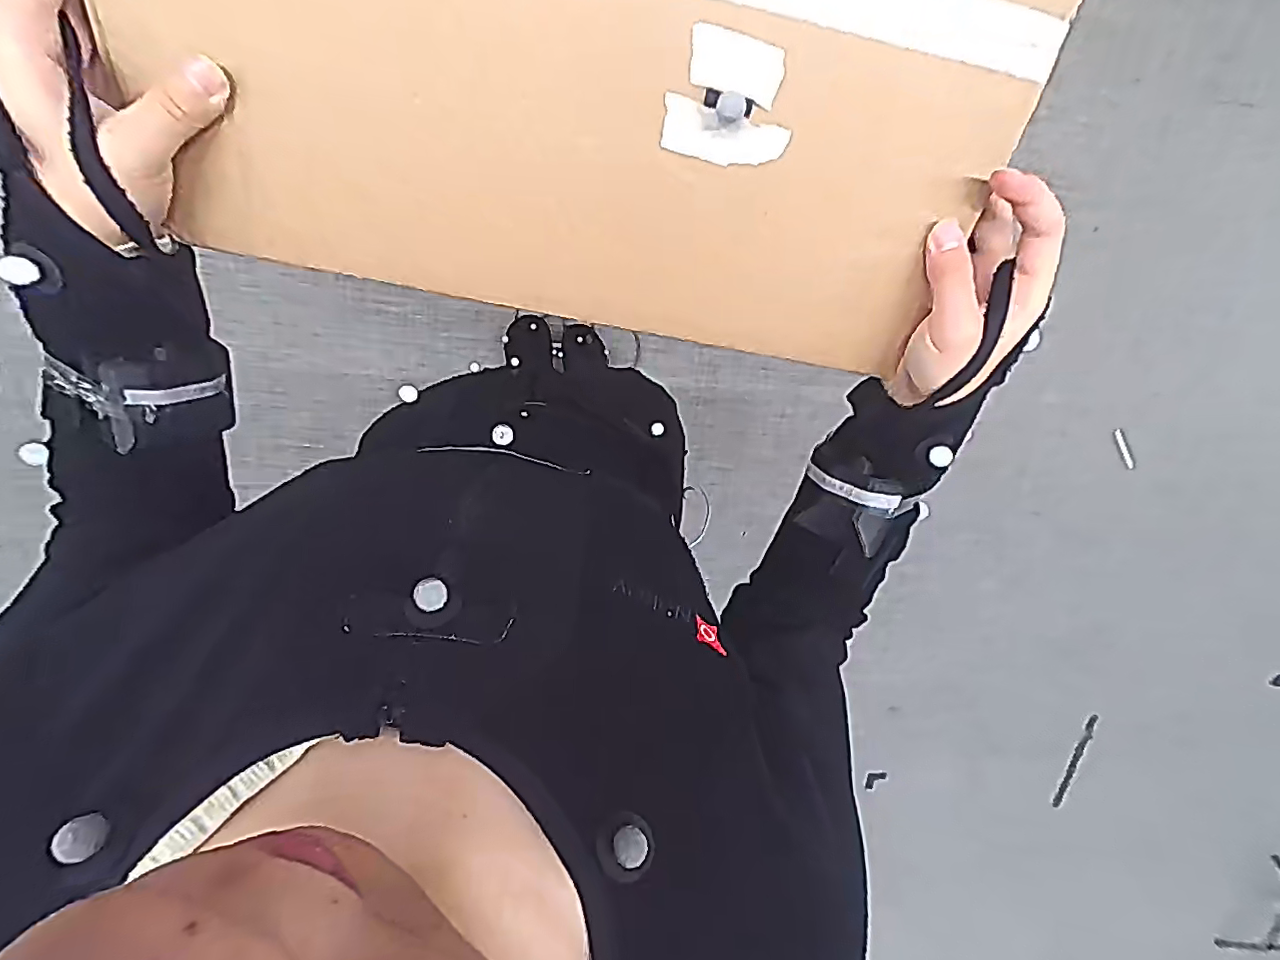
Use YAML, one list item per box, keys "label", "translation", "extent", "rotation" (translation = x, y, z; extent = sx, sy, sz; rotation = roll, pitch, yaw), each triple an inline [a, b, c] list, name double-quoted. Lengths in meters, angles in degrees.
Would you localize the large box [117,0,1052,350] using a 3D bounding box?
- label: "large box"
  translation: [-0.021, -0.311, 0.344]
  extent: [0.408, 0.320, 0.320]
  rotation: [9, 124, -7]
